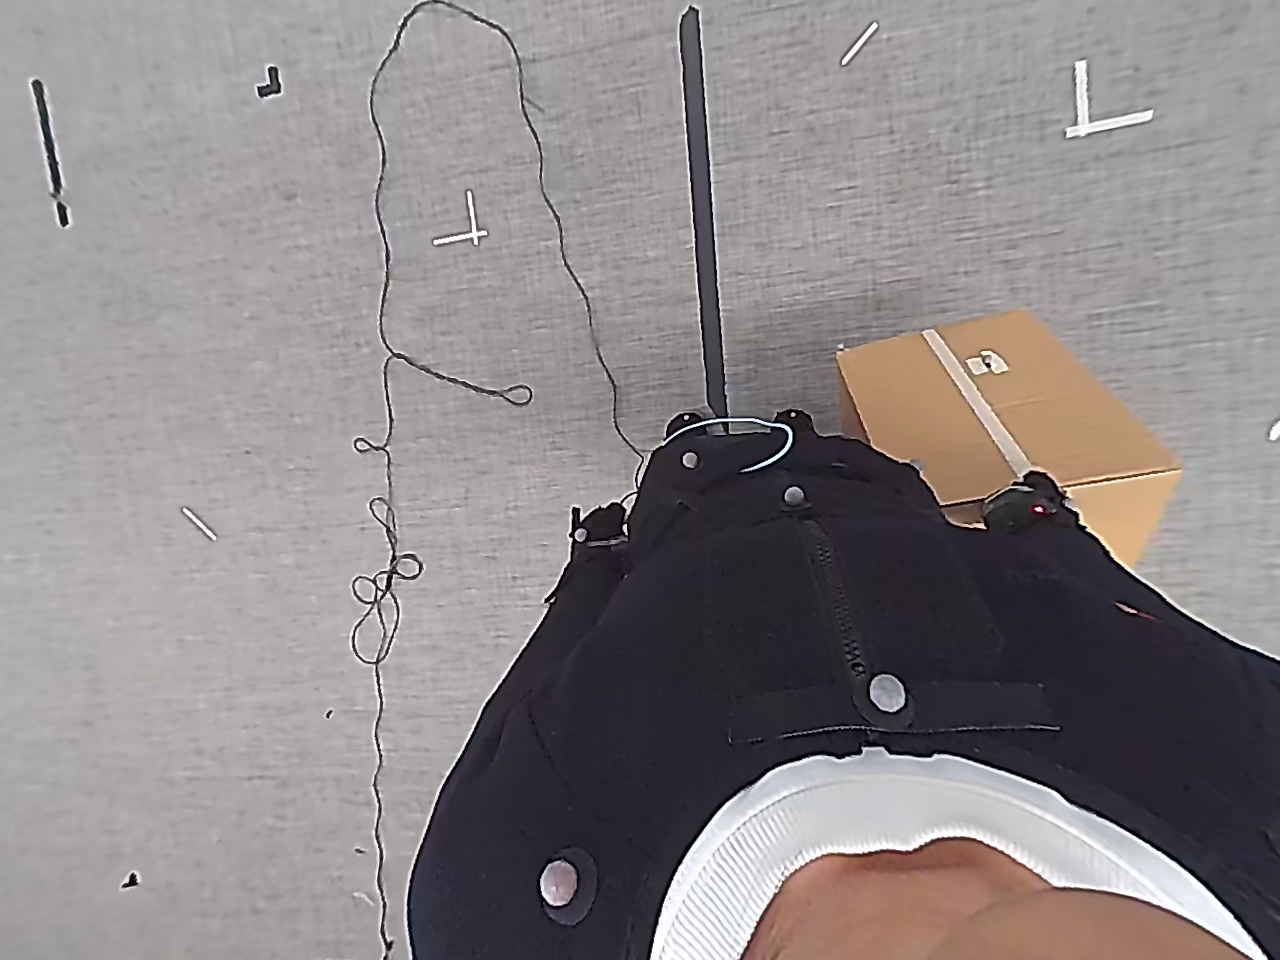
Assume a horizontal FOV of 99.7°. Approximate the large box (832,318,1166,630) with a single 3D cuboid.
[{"bbox_3d":[0.541,-0.013,0.922,0.320,0.408,0.320,-11,131,12],"label":"large box"}]
